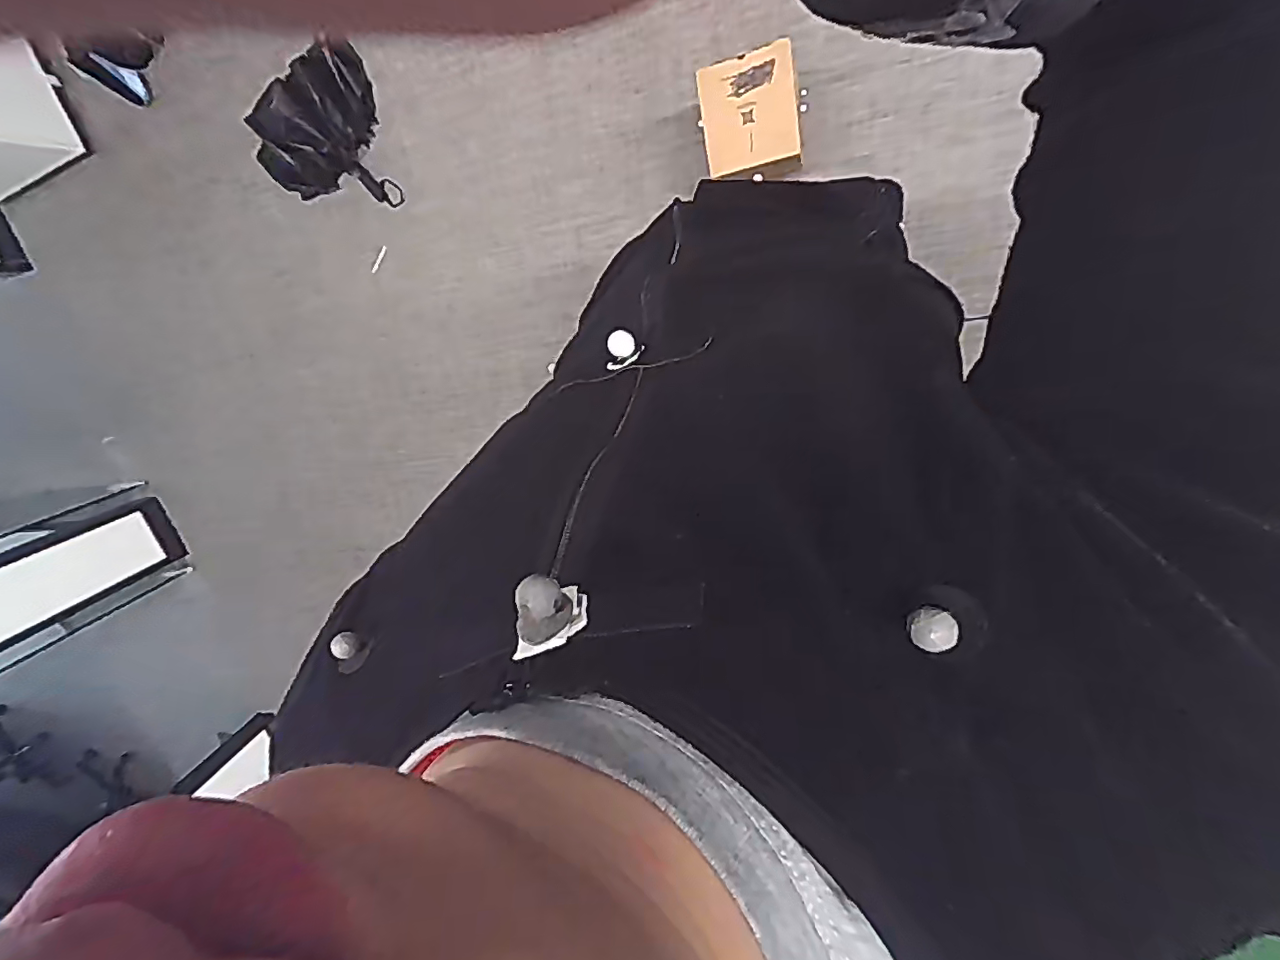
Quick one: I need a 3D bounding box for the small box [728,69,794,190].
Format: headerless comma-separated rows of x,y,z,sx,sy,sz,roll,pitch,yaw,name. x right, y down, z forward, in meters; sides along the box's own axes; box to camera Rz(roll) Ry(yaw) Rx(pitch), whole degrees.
0.243,-0.750,1.176,0.168,0.176,0.179,-5,113,19,small box

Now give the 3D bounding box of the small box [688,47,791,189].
0.197,-0.677,1.036,0.168,0.176,0.179,-5,112,19,small box
